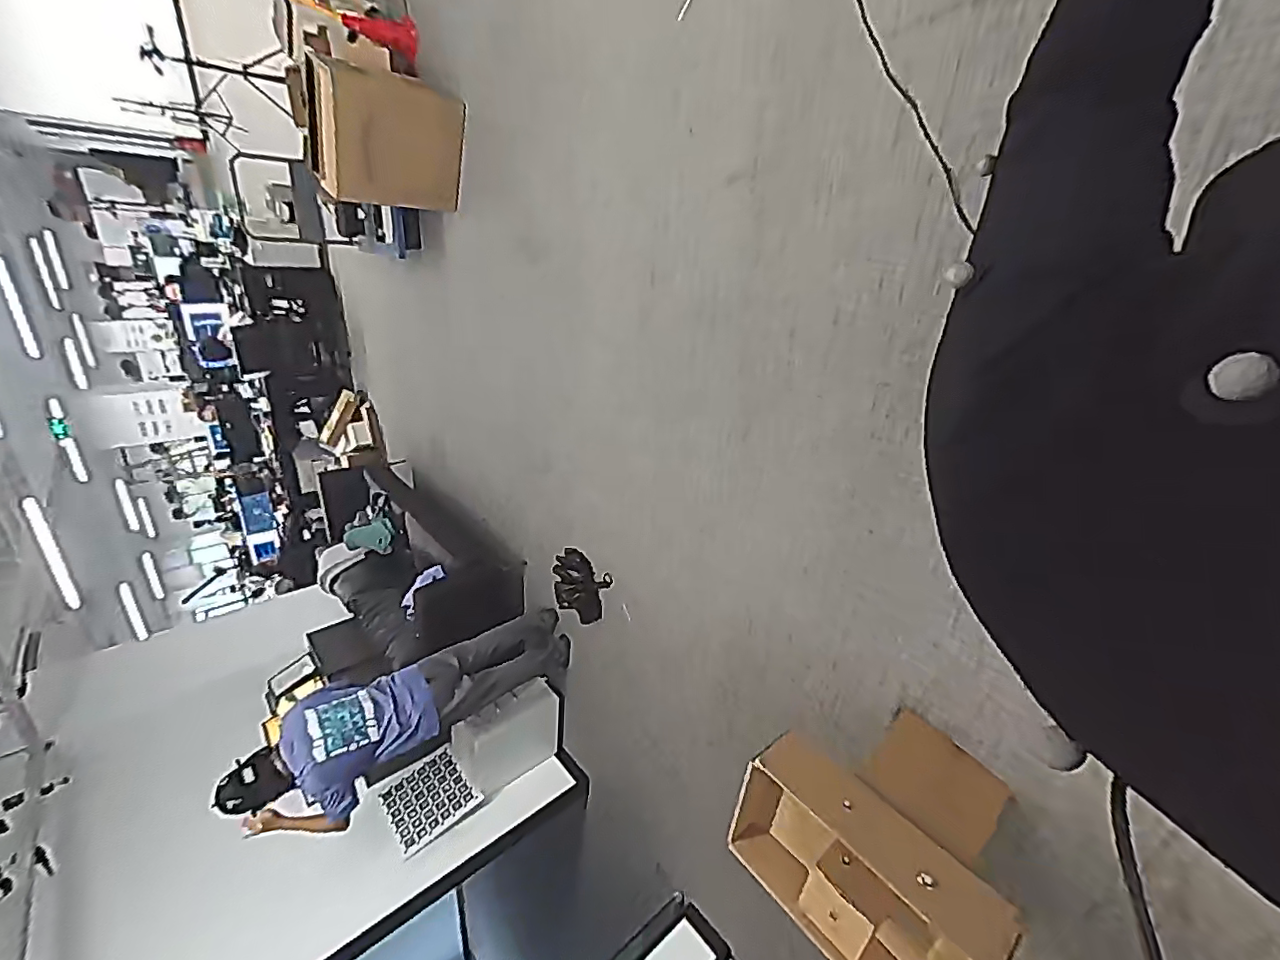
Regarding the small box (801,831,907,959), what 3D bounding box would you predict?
[{"bbox_3d":[0.529,1.023,1.335,0.168,0.176,0.179,32,128,42],"label":"small box"}]
